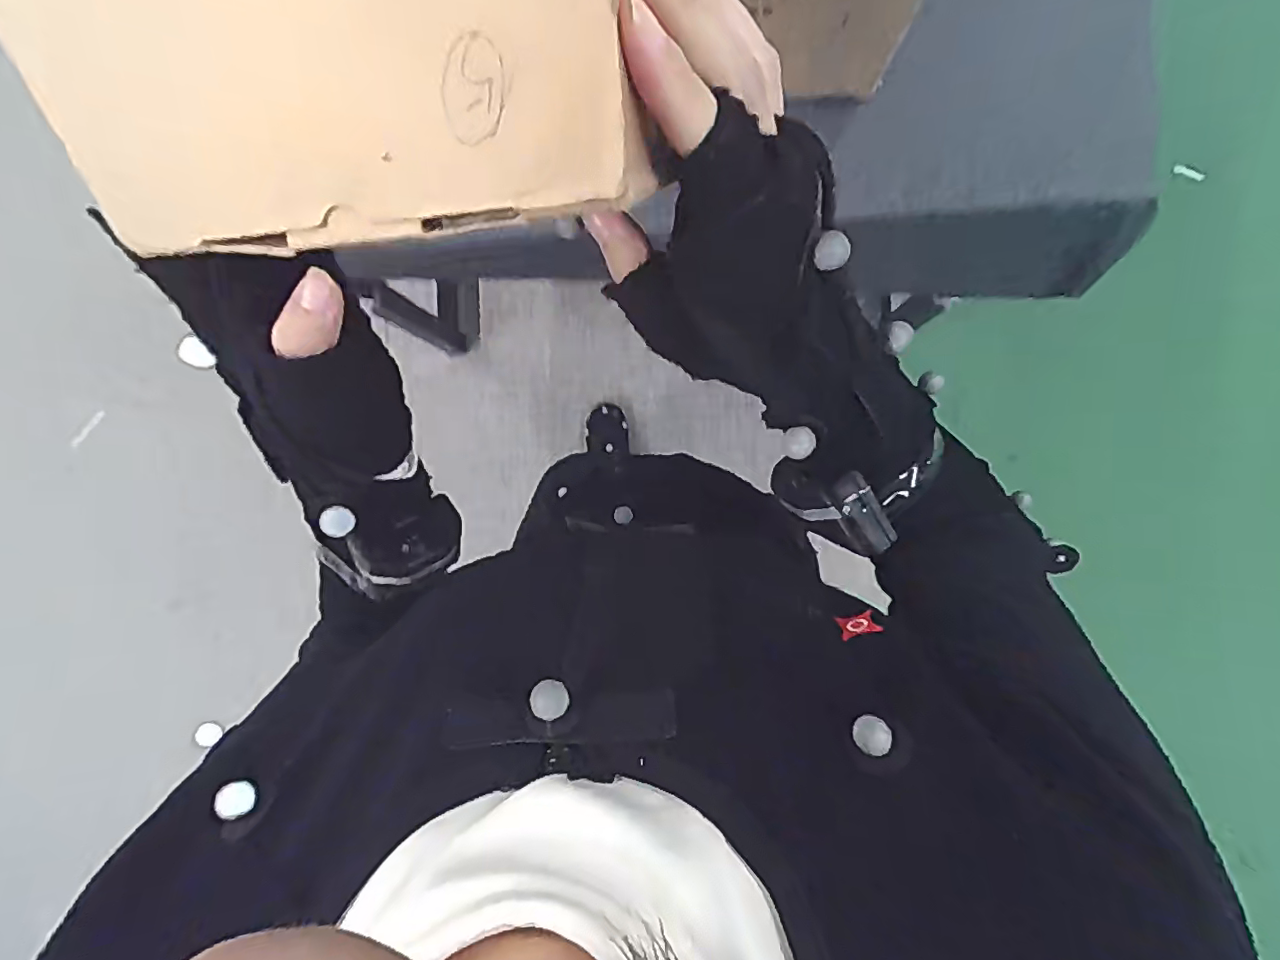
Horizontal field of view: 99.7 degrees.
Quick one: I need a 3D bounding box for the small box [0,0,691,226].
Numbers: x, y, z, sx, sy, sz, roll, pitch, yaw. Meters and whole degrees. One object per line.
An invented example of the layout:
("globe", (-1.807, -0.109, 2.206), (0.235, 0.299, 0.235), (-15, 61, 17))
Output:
("small box", (-0.079, -0.194, 0.170), (0.168, 0.176, 0.179), (2, 123, 14))
